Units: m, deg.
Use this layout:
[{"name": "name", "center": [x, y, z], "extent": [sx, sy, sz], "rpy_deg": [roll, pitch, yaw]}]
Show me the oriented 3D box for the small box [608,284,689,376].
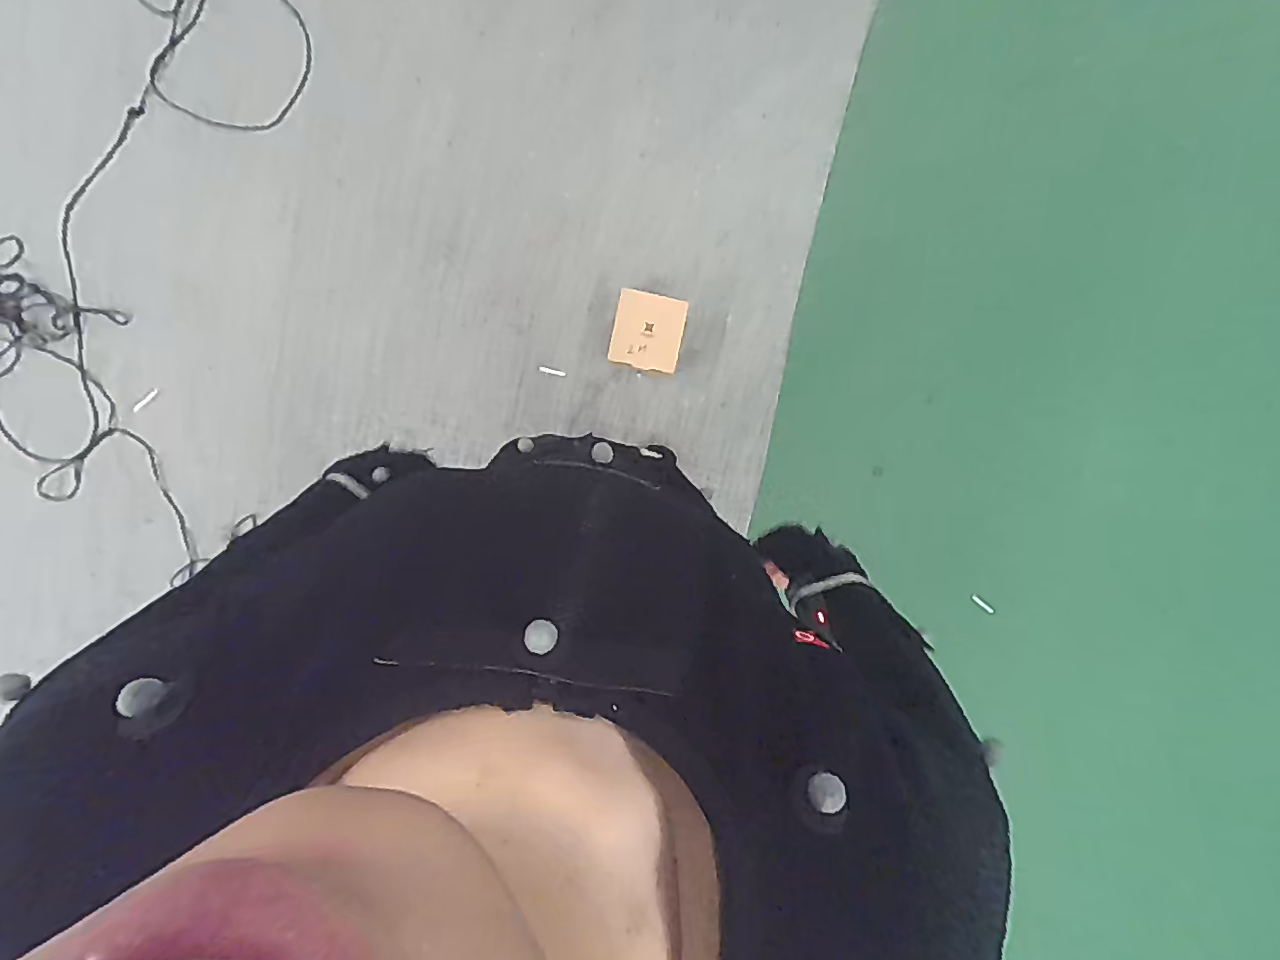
[{"name": "small box", "center": [0.020, -0.372, 1.368], "extent": [0.168, 0.176, 0.179], "rpy_deg": [13, 96, -1]}]
